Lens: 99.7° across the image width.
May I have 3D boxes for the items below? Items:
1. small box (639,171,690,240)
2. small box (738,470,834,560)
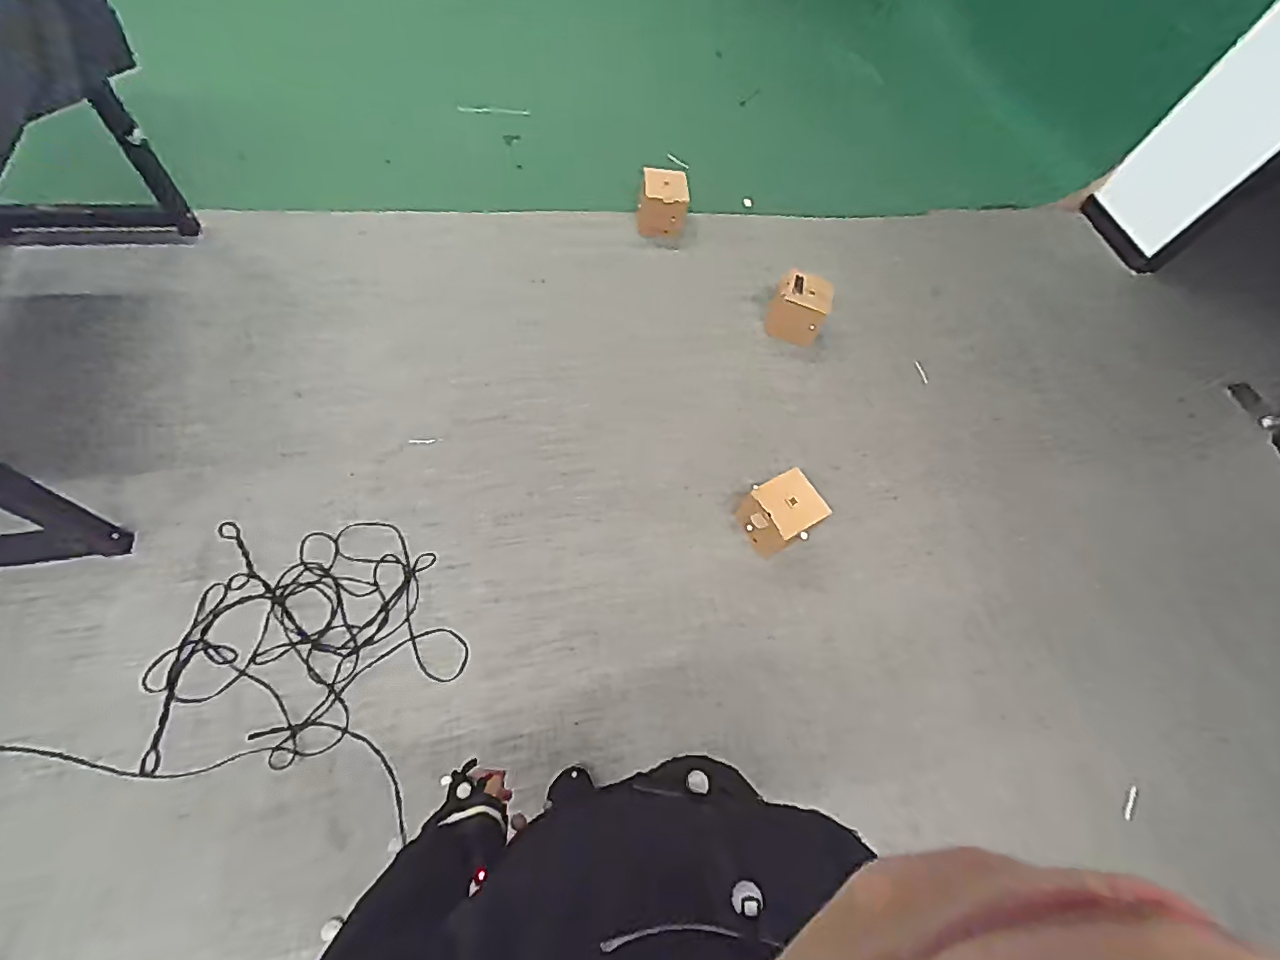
[{"bbox_3d":[0.093,-1.068,2.114,0.168,0.176,0.179,2,62,-11],"label":"small box"},{"bbox_3d":[0.413,0.105,1.556,0.179,0.176,0.168,-26,70,-20],"label":"small box"}]
